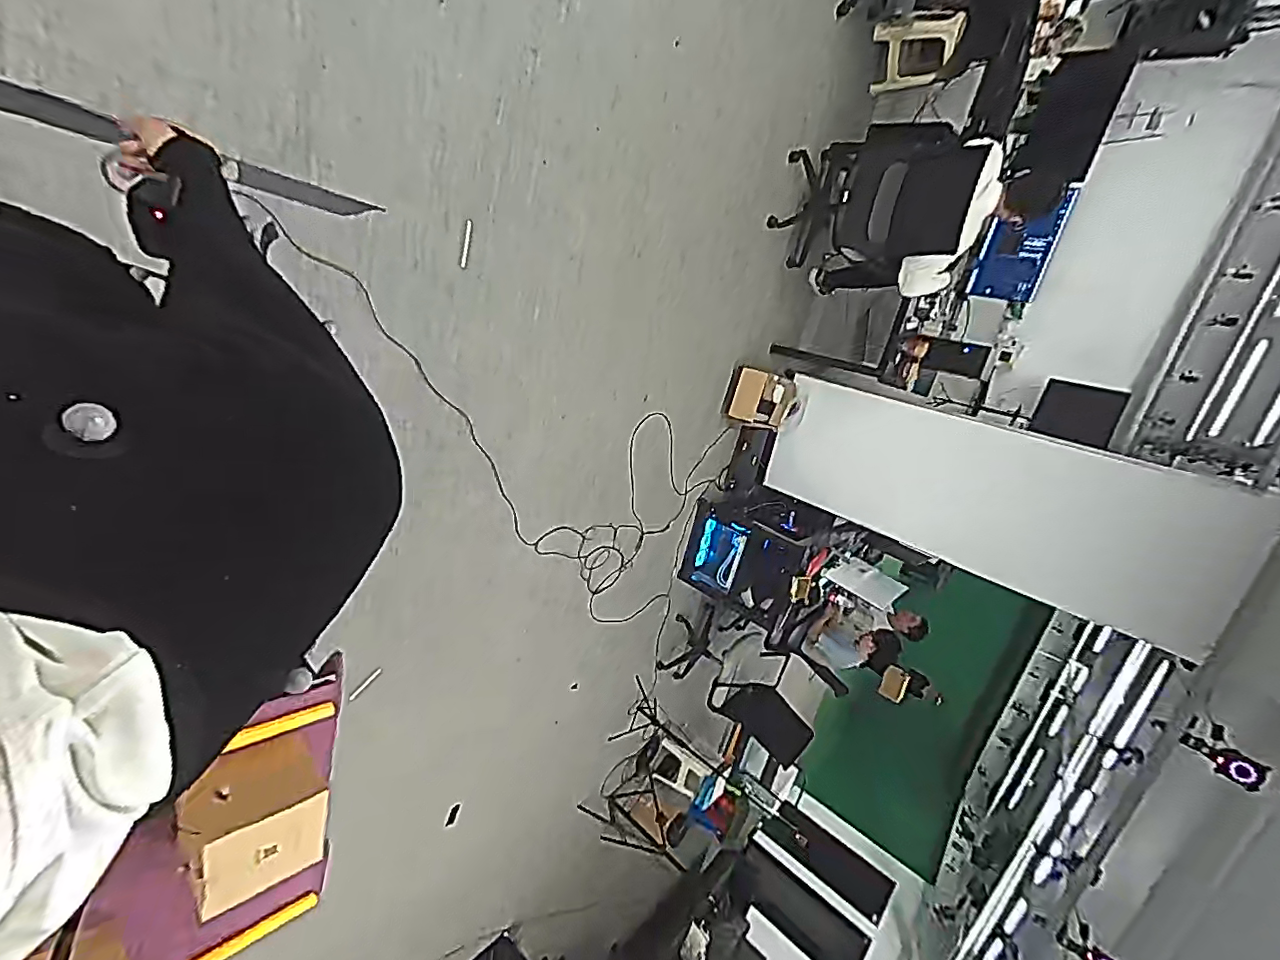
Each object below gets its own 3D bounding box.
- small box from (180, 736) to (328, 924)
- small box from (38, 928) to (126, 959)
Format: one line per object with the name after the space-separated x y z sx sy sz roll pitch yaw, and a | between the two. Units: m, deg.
-0.665 0.584 0.929 0.179 0.176 0.168 -5 114 -49 | small box
-0.881 0.844 0.810 0.168 0.176 0.179 -5 112 -52 | small box
